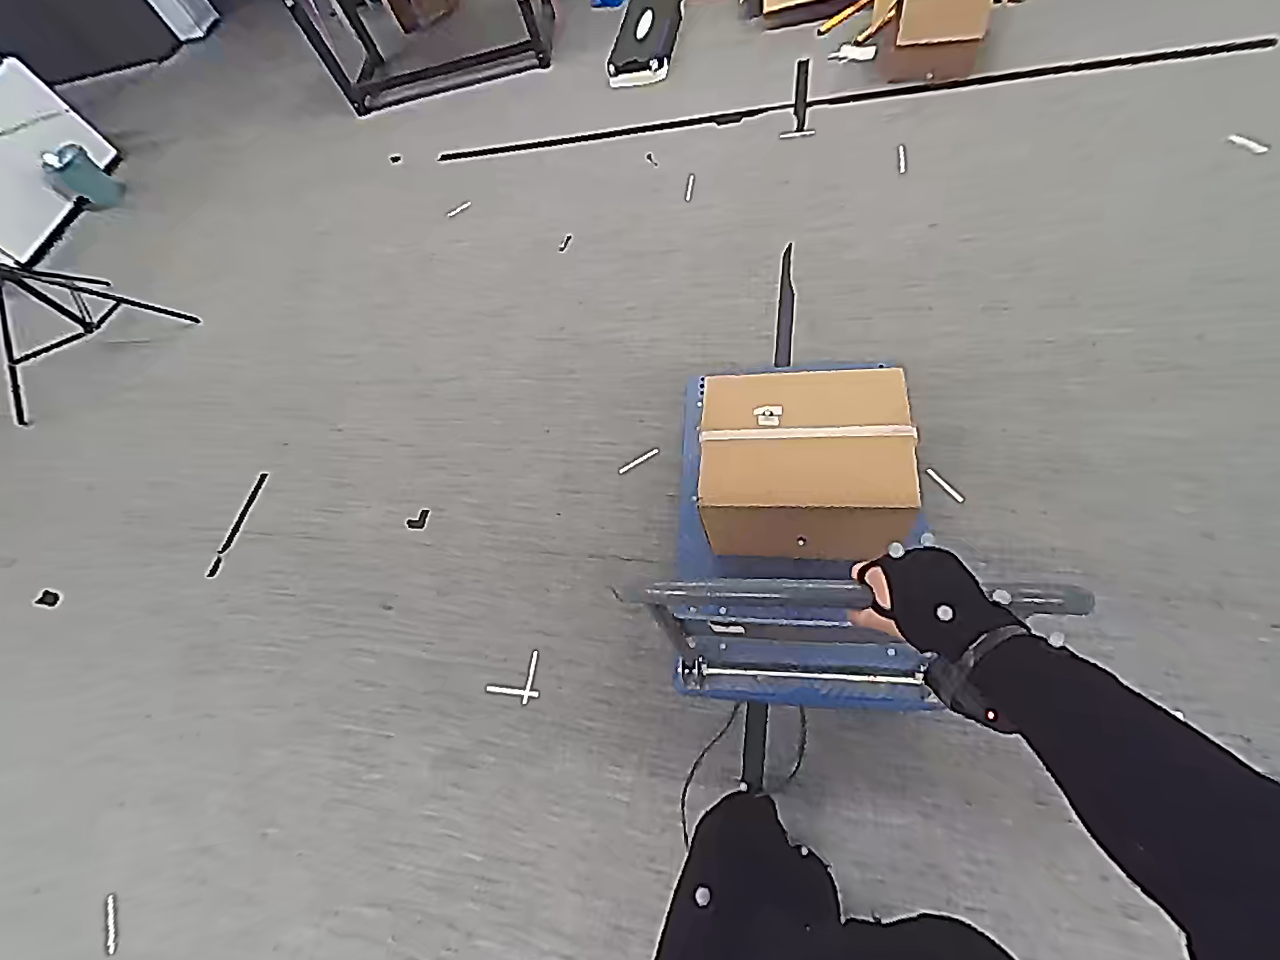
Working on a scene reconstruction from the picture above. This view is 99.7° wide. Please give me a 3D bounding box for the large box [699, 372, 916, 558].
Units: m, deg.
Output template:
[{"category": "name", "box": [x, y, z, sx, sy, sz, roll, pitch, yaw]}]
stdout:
[{"category": "large box", "box": [0.360, -0.016, 1.224, 0.408, 0.320, 0.320, -1, 63, 15]}]
